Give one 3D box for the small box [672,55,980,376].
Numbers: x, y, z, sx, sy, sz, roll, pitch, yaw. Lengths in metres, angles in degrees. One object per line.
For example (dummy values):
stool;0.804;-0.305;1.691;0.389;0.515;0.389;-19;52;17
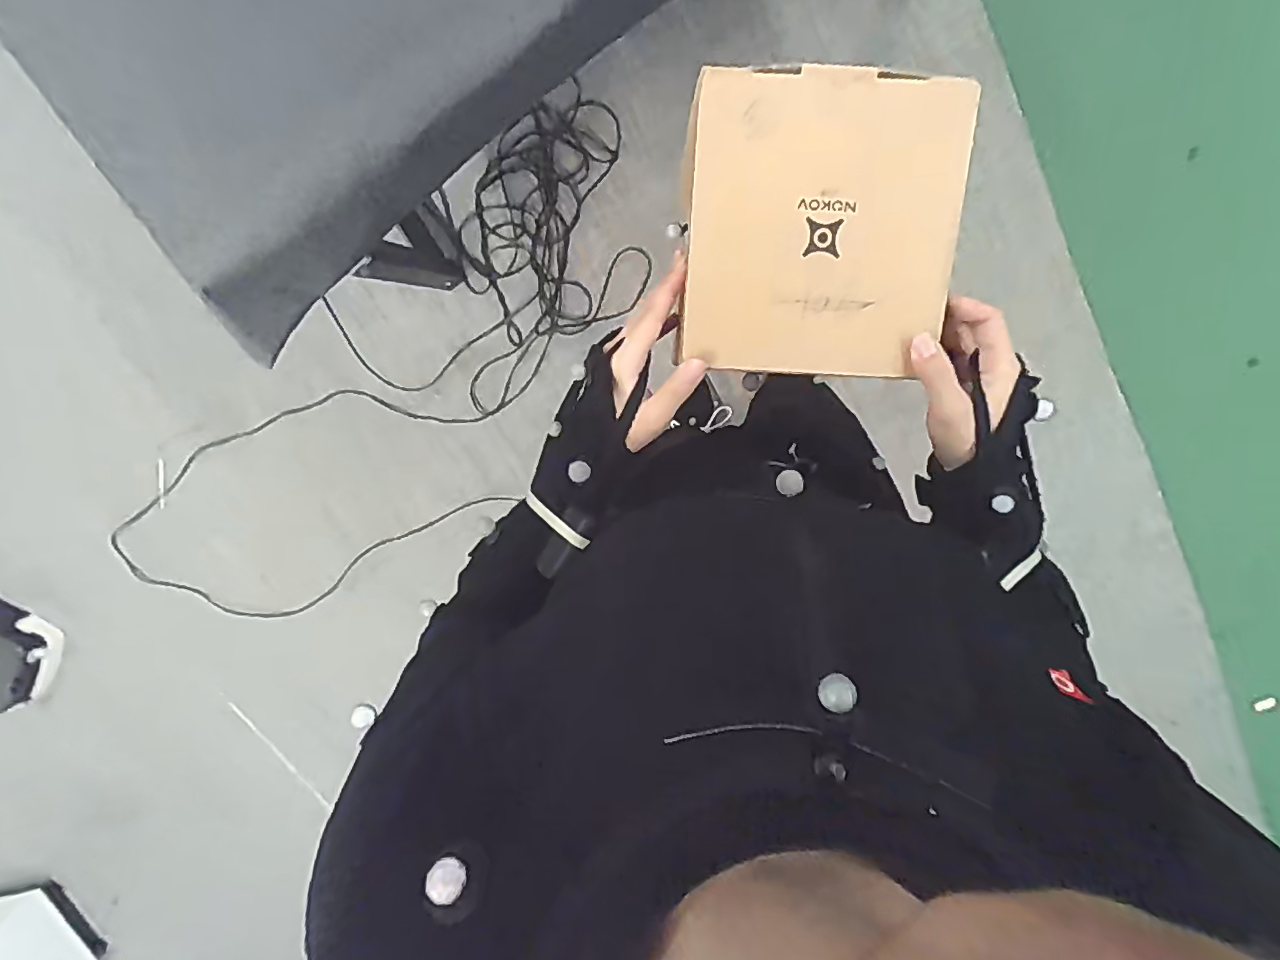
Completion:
small box;0.114;-0.175;0.411;0.168;0.176;0.179;4;103;0
